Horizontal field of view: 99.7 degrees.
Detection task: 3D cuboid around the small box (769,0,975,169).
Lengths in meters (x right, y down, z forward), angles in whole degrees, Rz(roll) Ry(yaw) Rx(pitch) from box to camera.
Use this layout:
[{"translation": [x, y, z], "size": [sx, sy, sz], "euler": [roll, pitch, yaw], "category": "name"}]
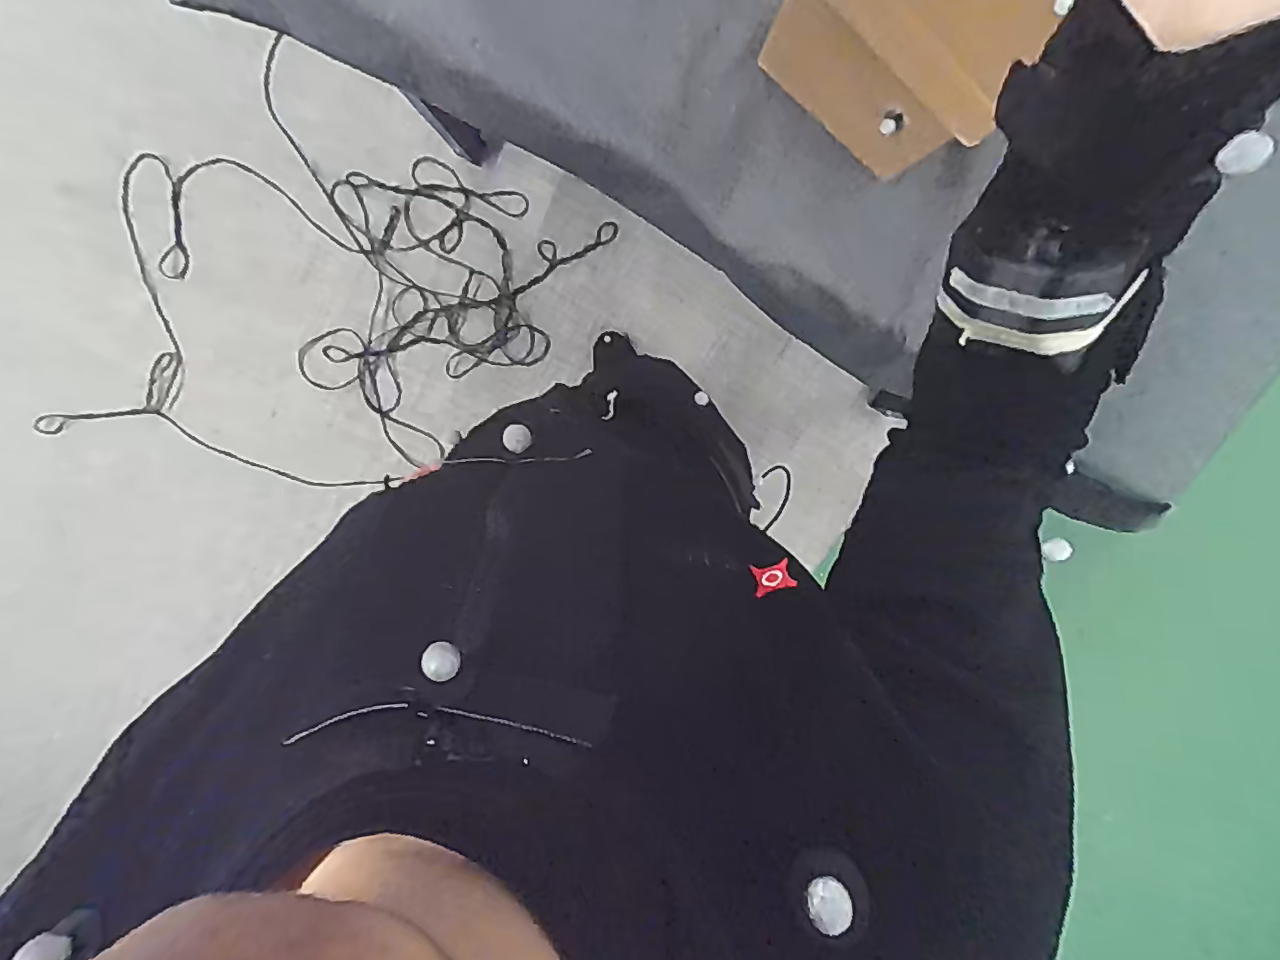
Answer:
[{"translation": [0.238, -0.395, 0.449], "size": [0.179, 0.176, 0.168], "euler": [36, 99, -8], "category": "small box"}]
